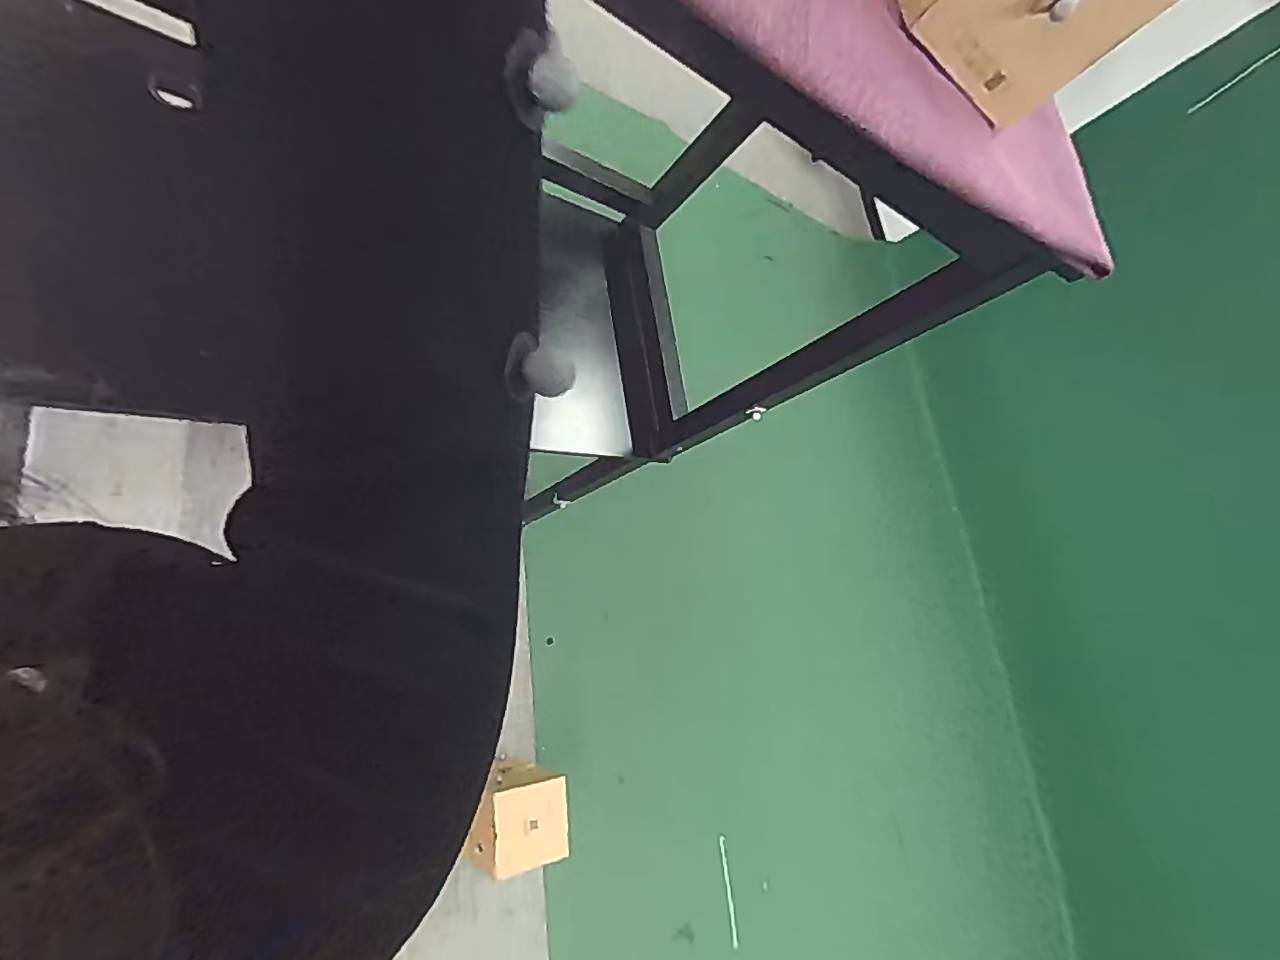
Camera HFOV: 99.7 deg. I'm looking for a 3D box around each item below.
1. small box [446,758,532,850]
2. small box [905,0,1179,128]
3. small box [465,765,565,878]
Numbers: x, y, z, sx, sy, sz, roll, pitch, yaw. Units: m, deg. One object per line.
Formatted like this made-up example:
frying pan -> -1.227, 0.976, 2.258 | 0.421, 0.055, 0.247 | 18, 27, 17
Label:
small box -> -0.381, 0.814, 1.365 | 0.168, 0.176, 0.179 | 8, 71, -36
small box -> 0.323, -0.439, 0.434 | 0.168, 0.176, 0.179 | 11, 66, -34
small box -> -0.291, 0.770, 1.238 | 0.179, 0.176, 0.168 | 7, 72, -37
